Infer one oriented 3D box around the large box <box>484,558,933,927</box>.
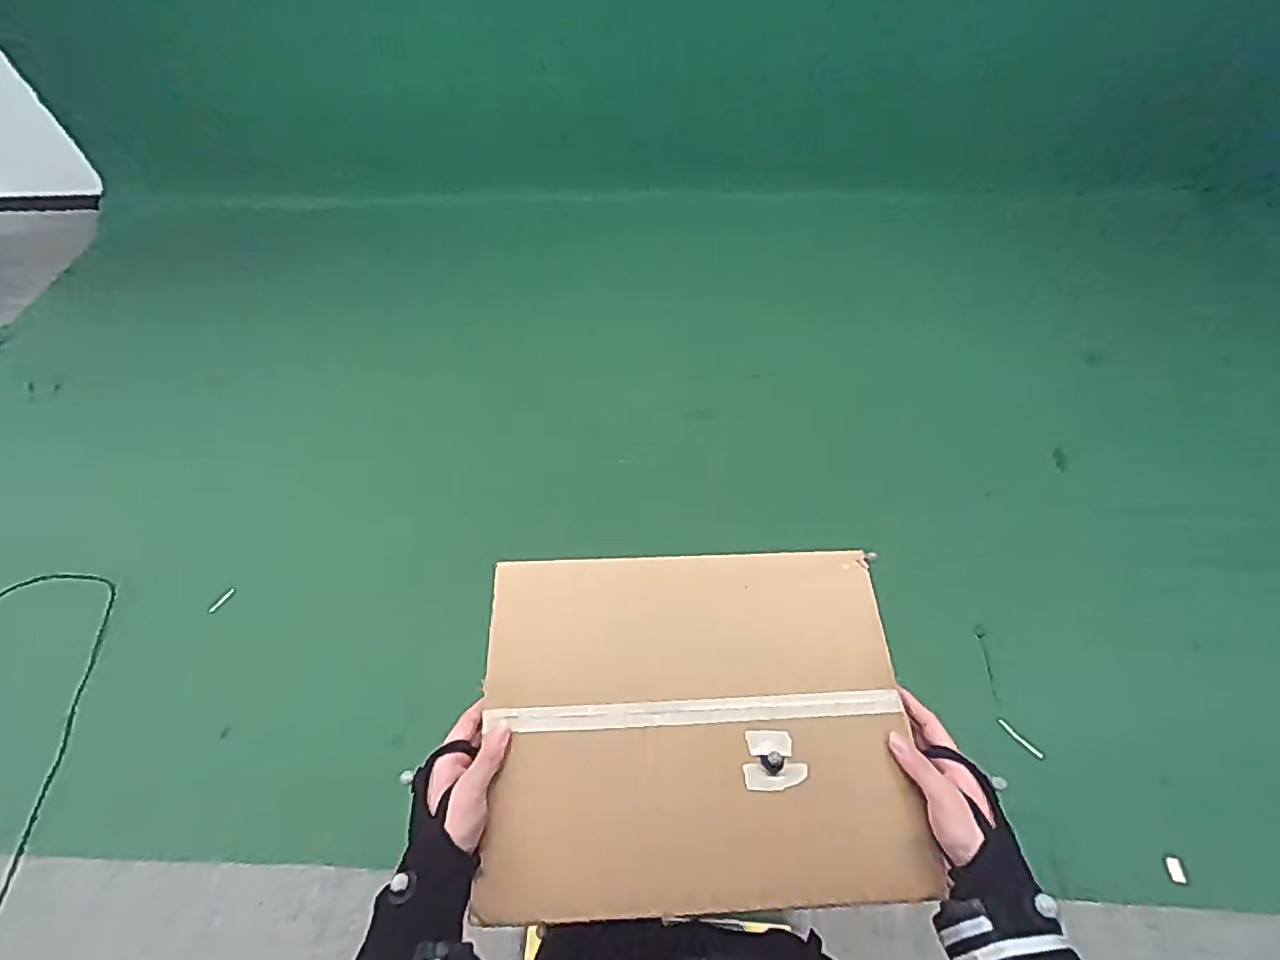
[{"bbox_3d":[0.049,0.302,0.665,0.408,0.320,0.320,-2,63,-3],"label":"large box"}]
